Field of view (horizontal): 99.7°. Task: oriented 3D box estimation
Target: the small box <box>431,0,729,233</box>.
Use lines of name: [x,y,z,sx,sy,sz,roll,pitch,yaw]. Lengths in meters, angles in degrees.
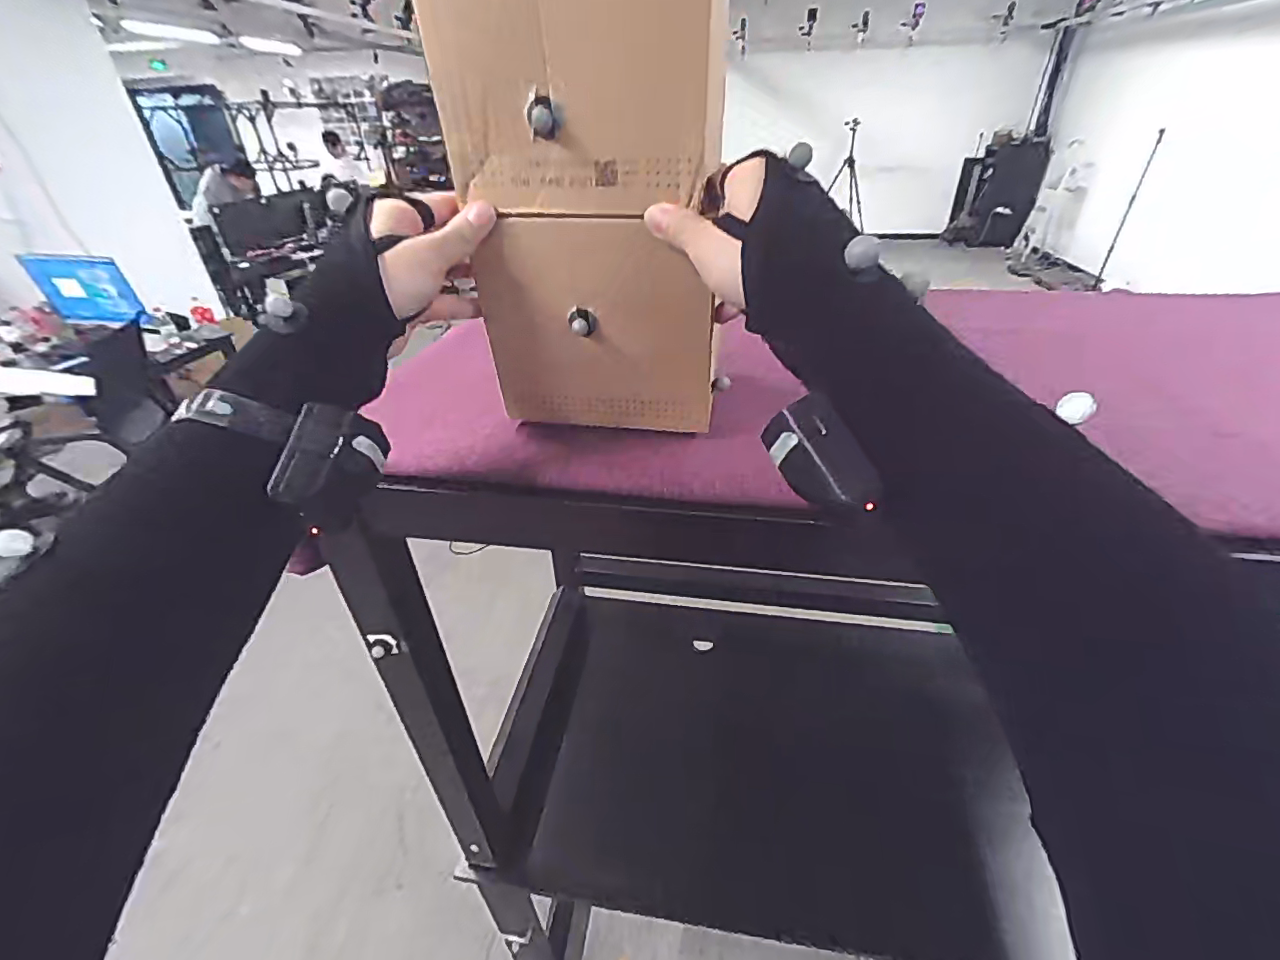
small box: [-0.028,-0.283,0.371,0.168,0.176,0.179,4,40,9]
